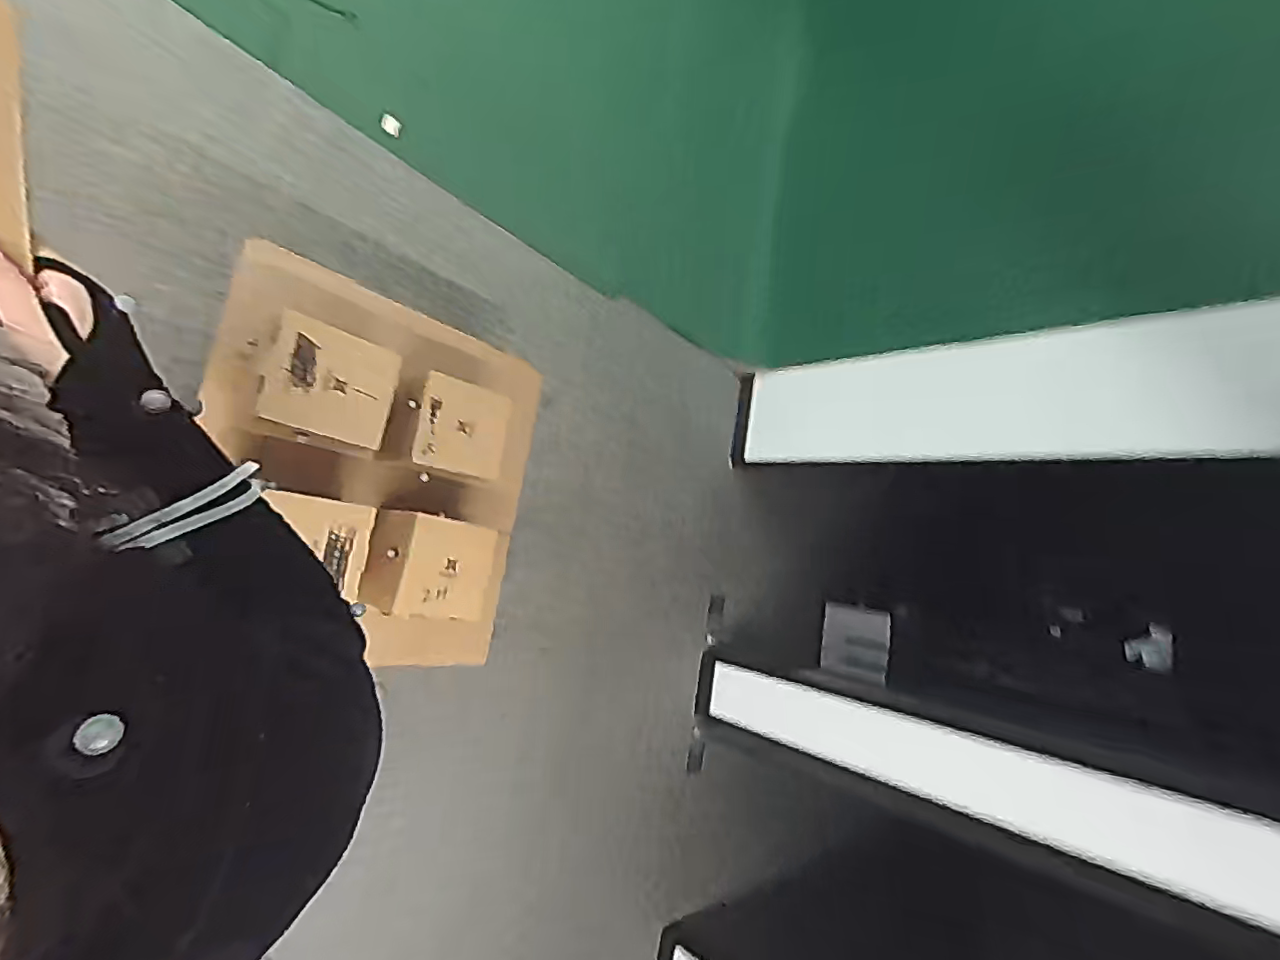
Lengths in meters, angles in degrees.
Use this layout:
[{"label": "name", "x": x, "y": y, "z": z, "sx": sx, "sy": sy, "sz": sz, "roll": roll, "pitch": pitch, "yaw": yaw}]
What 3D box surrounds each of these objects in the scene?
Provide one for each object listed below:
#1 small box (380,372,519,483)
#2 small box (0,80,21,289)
[{"label": "small box", "x": -0.362, "y": -0.092, "z": 1.034, "sx": 0.179, "sy": 0.176, "sz": 0.168, "roll": 18, "pitch": 77, "yaw": -46}, {"label": "small box", "x": -0.492, "y": -0.202, "z": 0.286, "sx": 0.179, "sy": 0.176, "sz": 0.168, "roll": -15, "pitch": 114, "yaw": -62}]
